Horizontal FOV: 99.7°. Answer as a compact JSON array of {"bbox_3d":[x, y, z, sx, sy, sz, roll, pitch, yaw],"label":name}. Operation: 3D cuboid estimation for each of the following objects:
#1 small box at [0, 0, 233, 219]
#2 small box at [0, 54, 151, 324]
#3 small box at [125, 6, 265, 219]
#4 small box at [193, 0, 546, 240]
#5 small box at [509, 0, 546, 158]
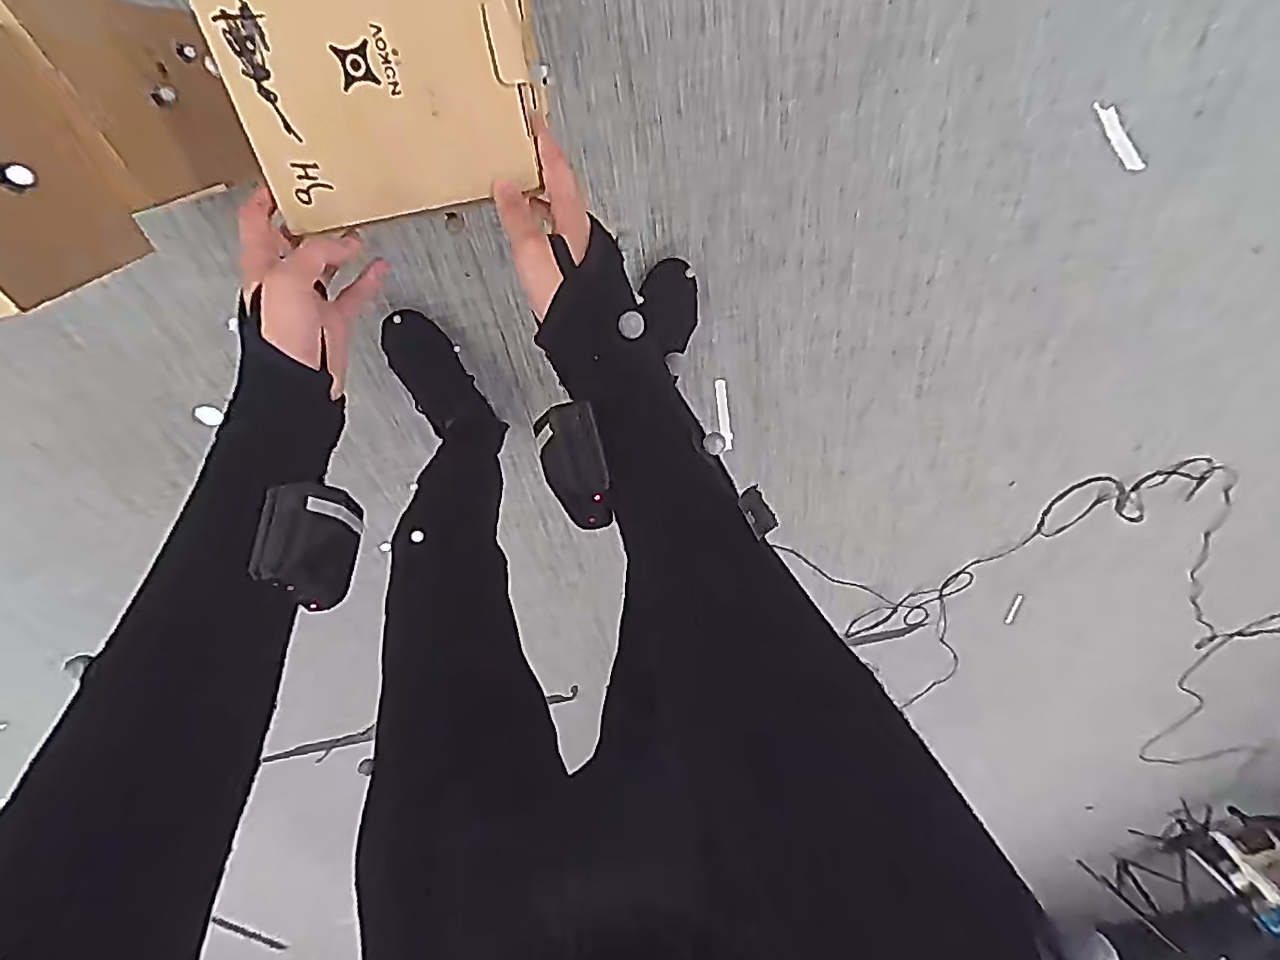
[{"bbox_3d":[-0.558,-0.341,0.524,0.179,0.176,0.168,-15,128,3],"label":"small box"},{"bbox_3d":[-0.550,-0.220,0.410,0.168,0.176,0.179,-11,129,2],"label":"small box"},{"bbox_3d":[-0.591,-0.436,0.654,0.168,0.176,0.179,-14,129,2],"label":"small box"},{"bbox_3d":[-0.173,-0.282,0.401,0.179,0.176,0.168,-12,116,-4],"label":"small box"},{"bbox_3d":[-0.191,-0.409,0.531,0.179,0.176,0.168,-7,128,-4],"label":"small box"}]
